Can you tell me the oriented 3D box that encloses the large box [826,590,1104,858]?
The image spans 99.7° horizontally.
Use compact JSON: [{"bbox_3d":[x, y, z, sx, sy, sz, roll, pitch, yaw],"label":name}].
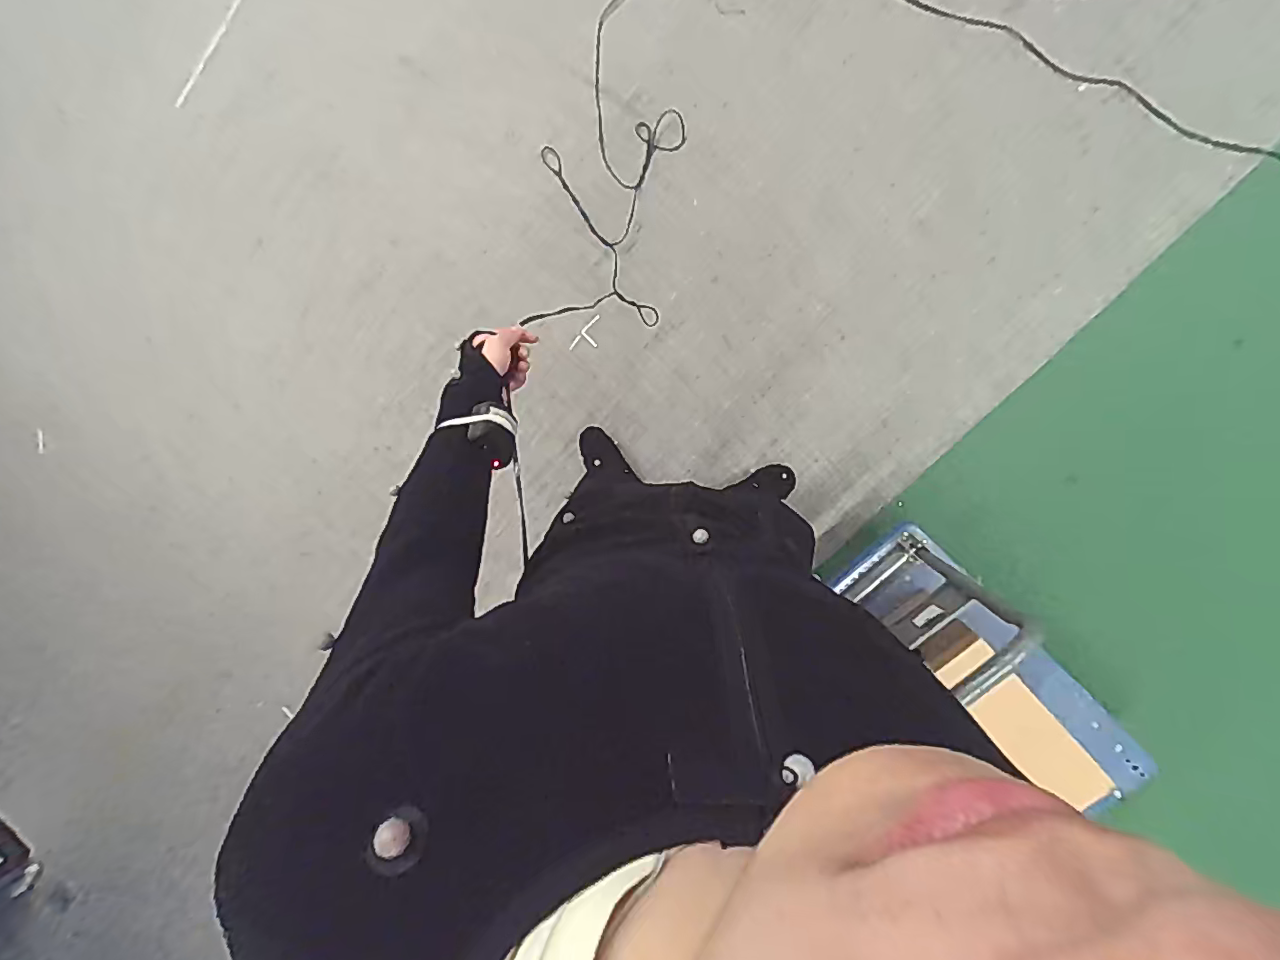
[{"bbox_3d":[0.709,0.536,1.258,0.320,0.320,0.408,-42,90,11],"label":"large box"}]
